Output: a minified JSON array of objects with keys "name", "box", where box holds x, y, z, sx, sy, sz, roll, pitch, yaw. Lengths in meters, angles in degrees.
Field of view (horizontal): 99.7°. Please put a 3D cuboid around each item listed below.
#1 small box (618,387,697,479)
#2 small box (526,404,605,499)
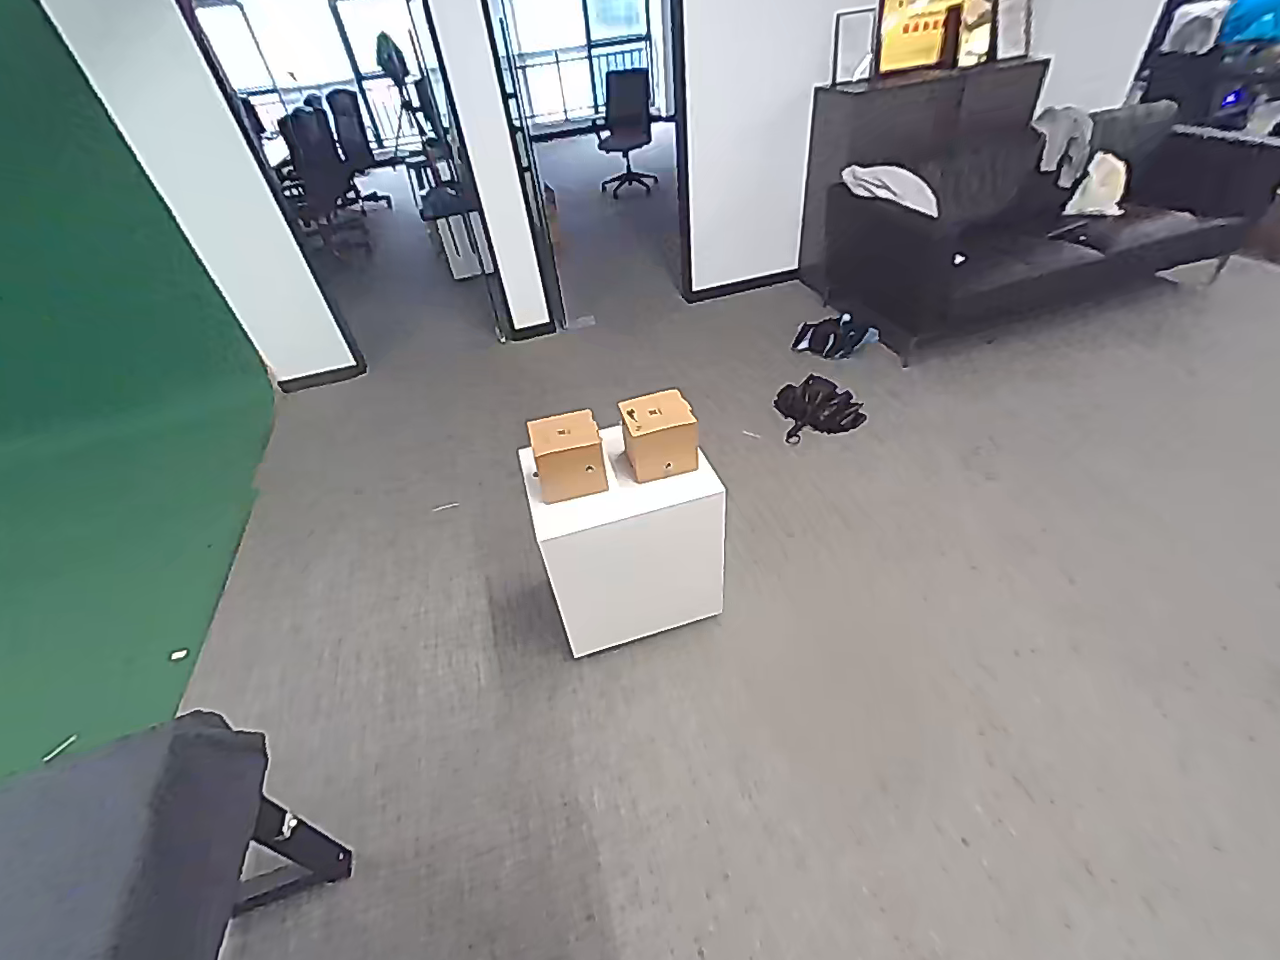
[{"name":"small box","box":[0.046,-0.128,1.477,0.179,0.176,0.168,-13,43,-9]},{"name":"small box","box":[-0.195,-0.075,1.445,0.179,0.176,0.168,-14,42,-9]}]
